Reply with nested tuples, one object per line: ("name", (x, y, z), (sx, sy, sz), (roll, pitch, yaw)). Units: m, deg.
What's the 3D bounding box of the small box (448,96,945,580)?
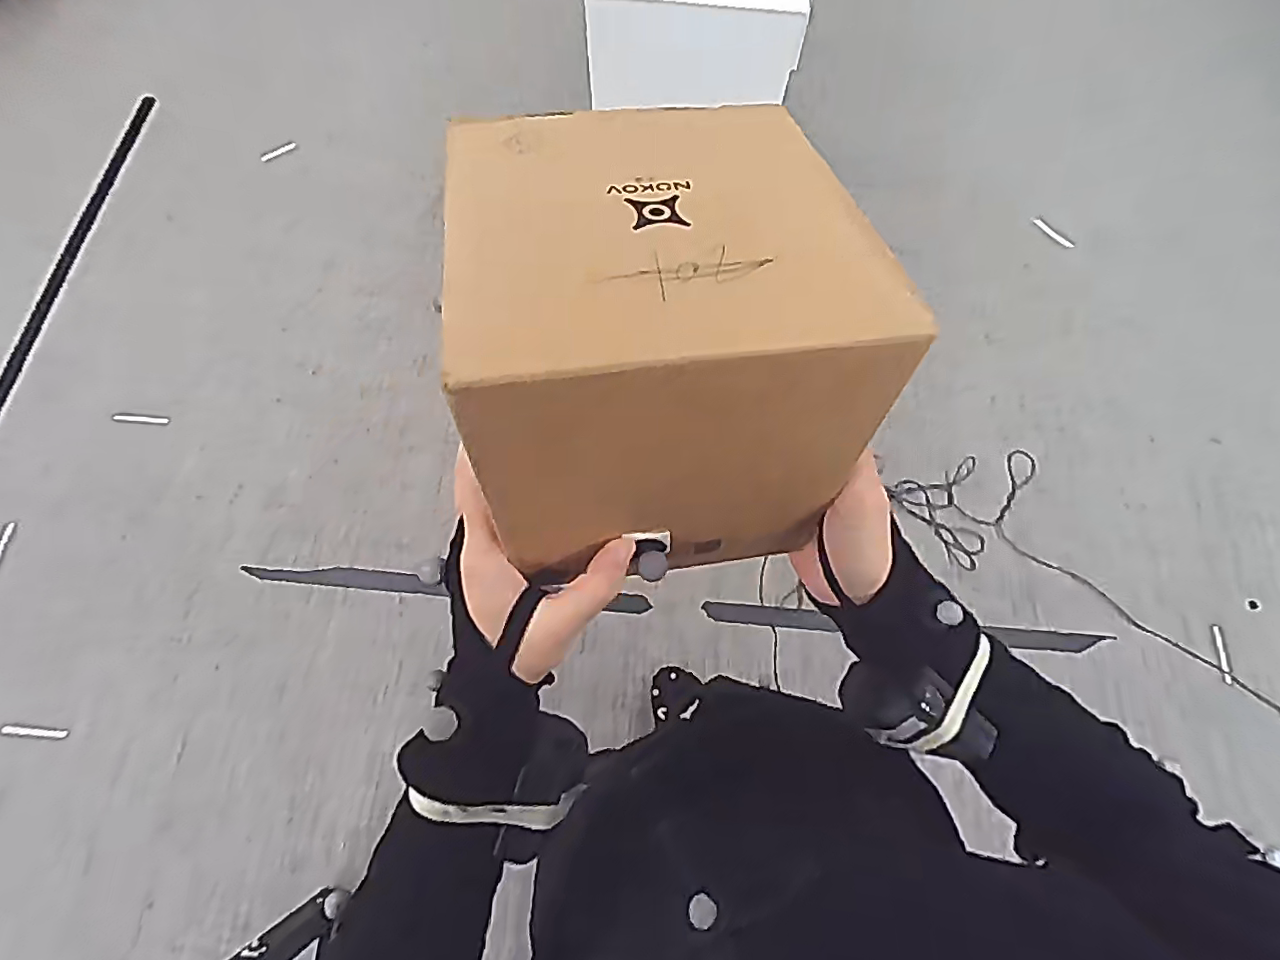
("small box", (0.006, -0.068, 0.283), (0.168, 0.176, 0.179), (-7, 58, -7))
